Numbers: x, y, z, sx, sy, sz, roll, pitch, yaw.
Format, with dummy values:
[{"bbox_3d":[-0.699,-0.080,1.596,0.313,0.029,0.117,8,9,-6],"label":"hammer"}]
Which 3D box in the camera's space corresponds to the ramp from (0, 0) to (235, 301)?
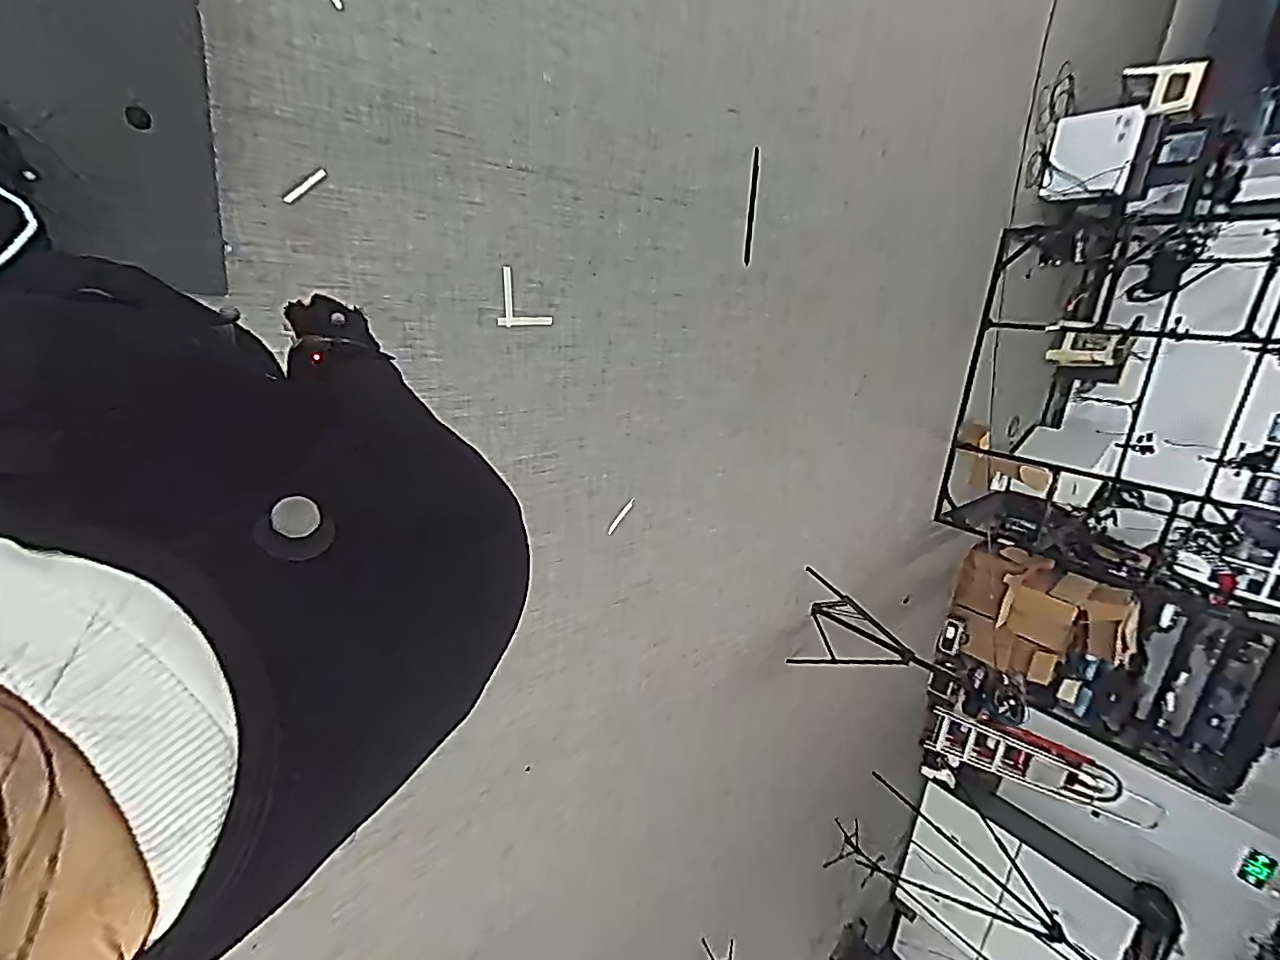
[{"bbox_3d":[-0.953,-0.790,0.791,0.509,0.206,0.991,-12,113,-38],"label":"ramp"}]
